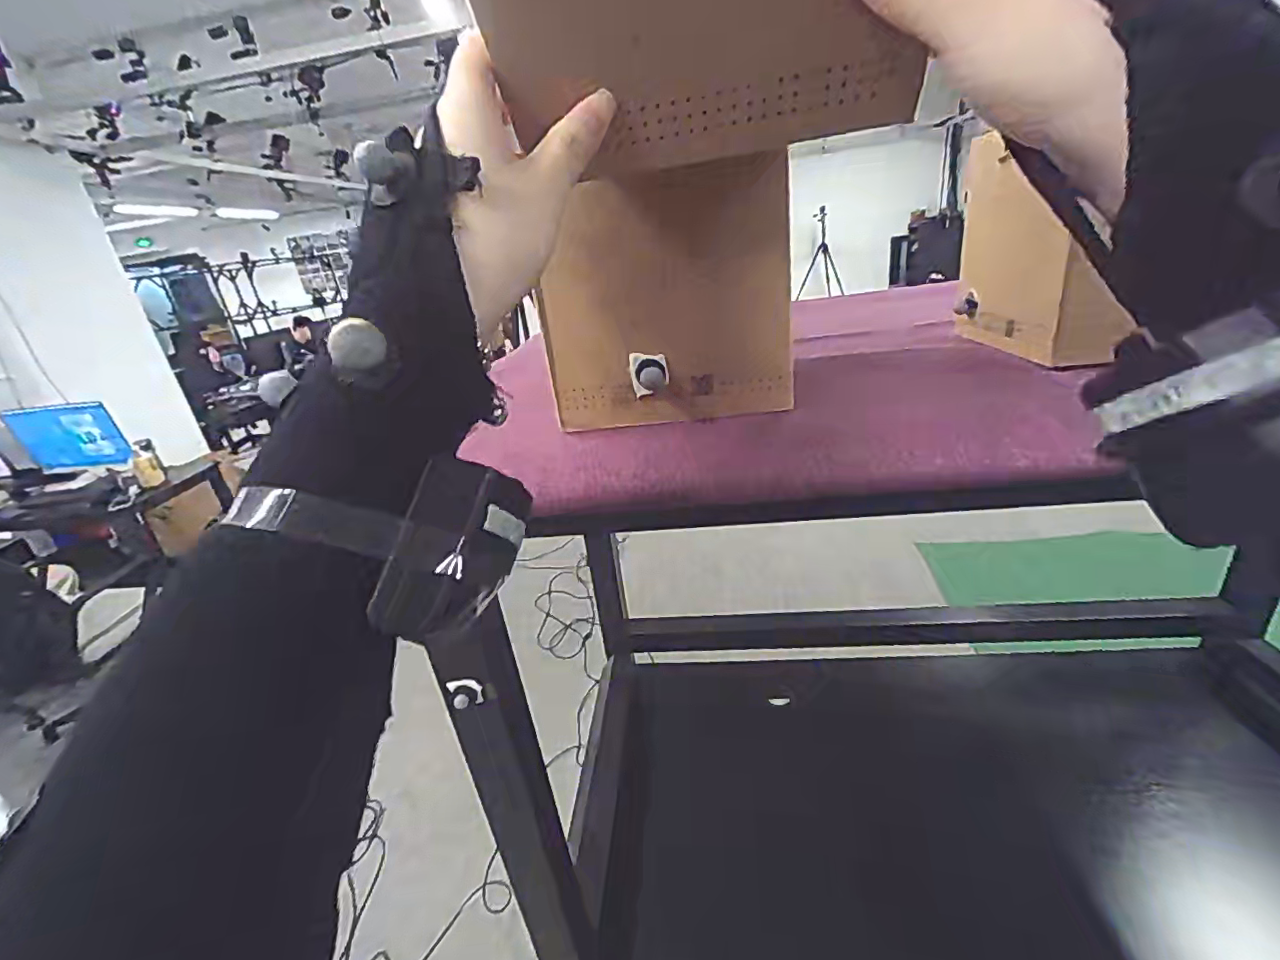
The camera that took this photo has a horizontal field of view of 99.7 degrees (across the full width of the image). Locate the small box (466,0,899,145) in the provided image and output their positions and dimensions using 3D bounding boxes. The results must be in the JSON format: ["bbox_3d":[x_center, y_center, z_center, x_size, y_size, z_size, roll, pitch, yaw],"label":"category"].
[{"bbox_3d":[0.011,-0.266,0.214,0.179,0.176,0.168,-6,60,8],"label":"small box"}]

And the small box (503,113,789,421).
[{"bbox_3d":[0.014,-0.154,0.413,0.168,0.176,0.179,-7,25,5],"label":"small box"}]

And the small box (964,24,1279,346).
[{"bbox_3d":[0.362,-0.199,0.397,0.179,0.176,0.168,-4,23,8],"label":"small box"}]
